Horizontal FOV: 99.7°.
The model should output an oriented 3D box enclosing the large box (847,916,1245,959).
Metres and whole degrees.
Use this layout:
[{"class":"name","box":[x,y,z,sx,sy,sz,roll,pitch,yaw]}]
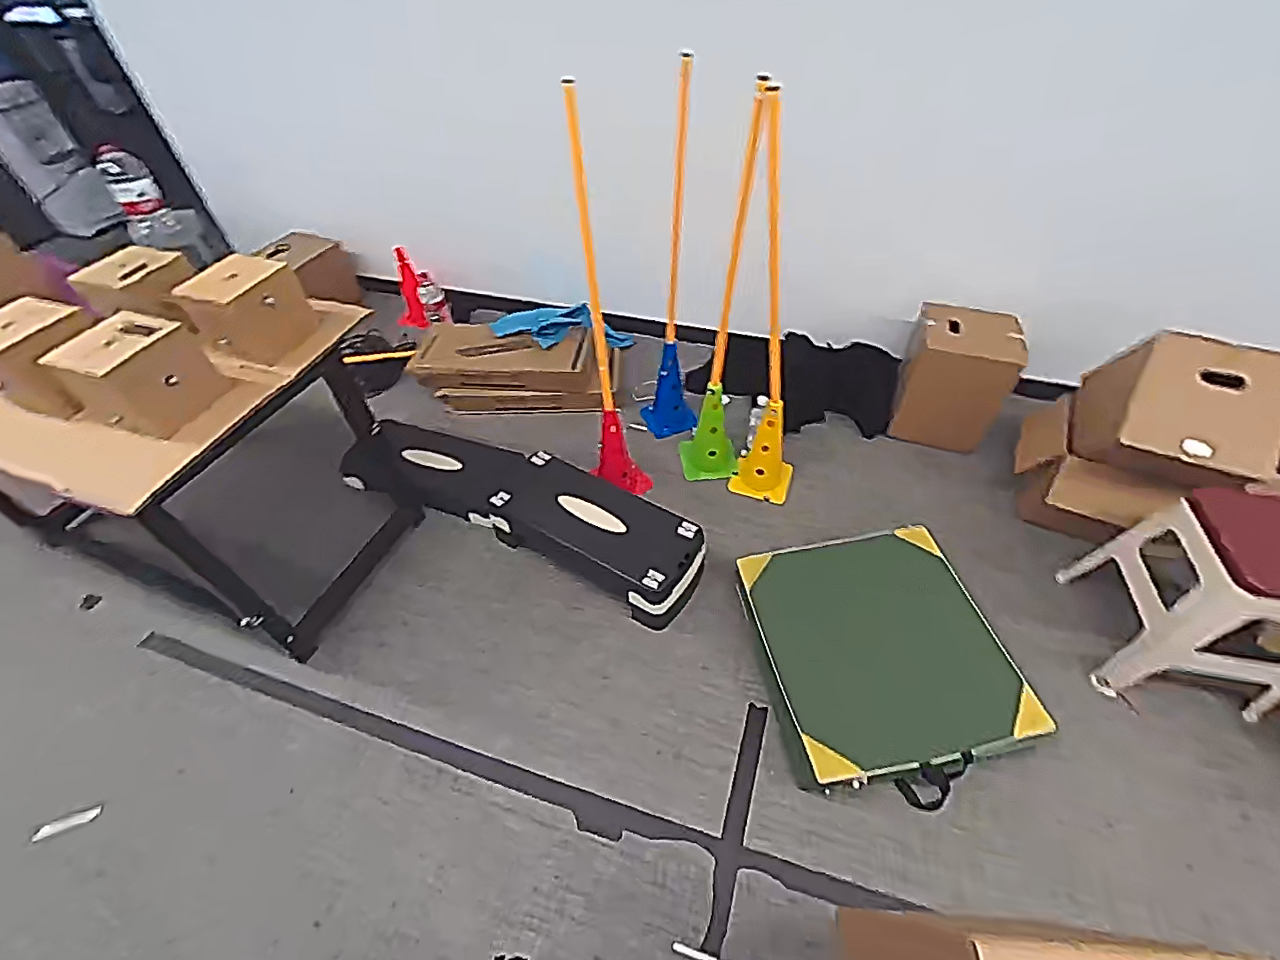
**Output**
[{"class":"large box","box":[0.481,0.724,0.626,0.320,0.408,0.320,4,55,2]}]
